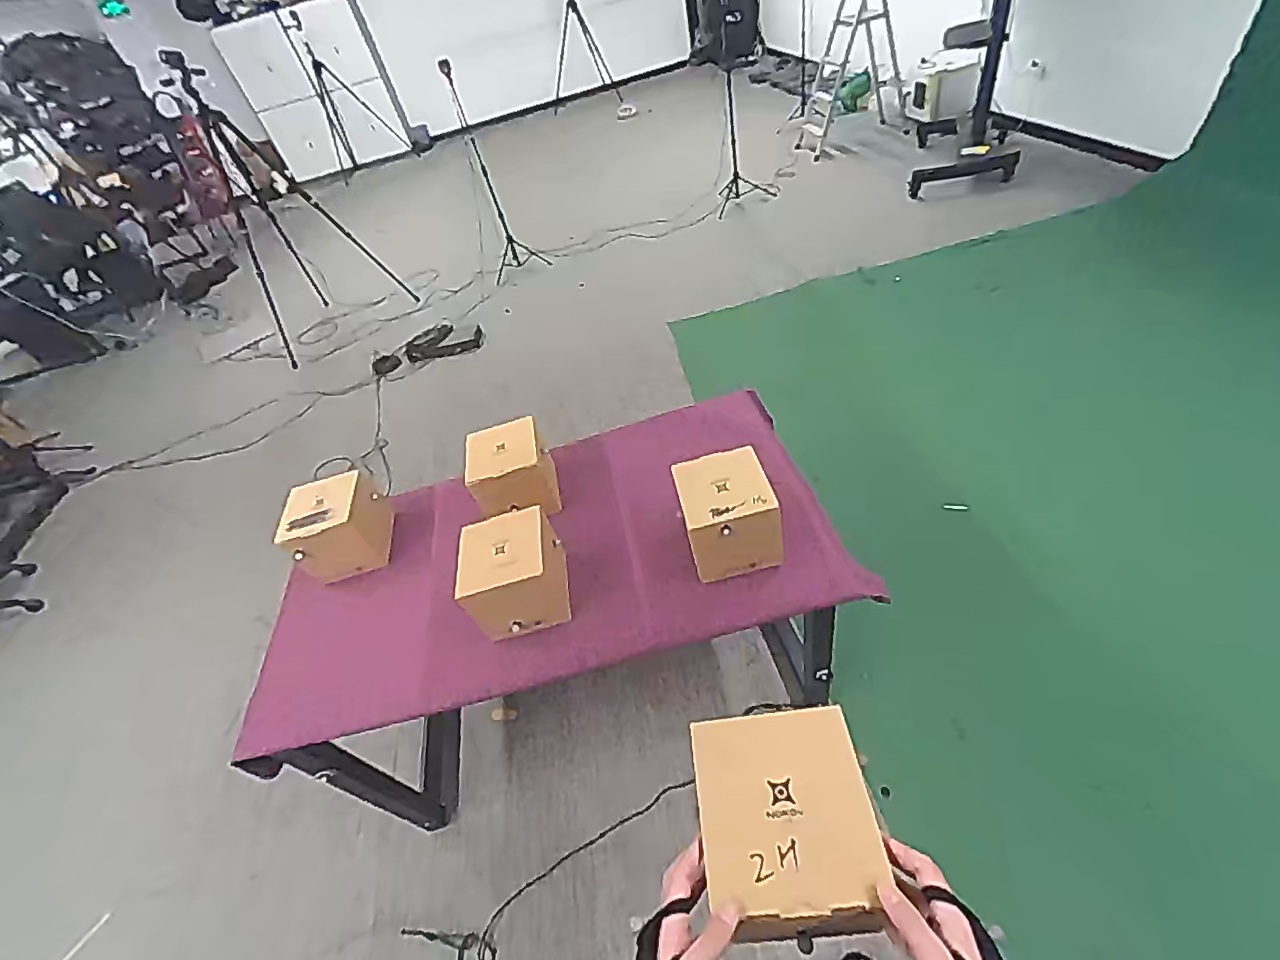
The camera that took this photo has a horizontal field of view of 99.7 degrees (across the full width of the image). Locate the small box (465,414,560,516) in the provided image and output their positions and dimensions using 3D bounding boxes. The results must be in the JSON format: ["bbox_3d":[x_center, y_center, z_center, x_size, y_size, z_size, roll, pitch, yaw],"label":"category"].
[{"bbox_3d":[-0.296,-0.022,1.269,0.168,0.176,0.179,-17,46,-1],"label":"small box"}]

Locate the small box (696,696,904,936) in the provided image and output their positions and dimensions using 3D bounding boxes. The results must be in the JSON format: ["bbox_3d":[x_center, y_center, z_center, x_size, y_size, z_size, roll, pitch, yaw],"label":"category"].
[{"bbox_3d":[0.156,0.359,0.577,0.168,0.176,0.179,-10,43,7],"label":"small box"}]

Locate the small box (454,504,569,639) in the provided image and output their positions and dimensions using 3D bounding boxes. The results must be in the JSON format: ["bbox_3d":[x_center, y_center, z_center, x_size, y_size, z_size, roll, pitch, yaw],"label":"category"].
[{"bbox_3d":[-0.243,0.179,1.055,0.168,0.176,0.179,-16,44,2],"label":"small box"}]

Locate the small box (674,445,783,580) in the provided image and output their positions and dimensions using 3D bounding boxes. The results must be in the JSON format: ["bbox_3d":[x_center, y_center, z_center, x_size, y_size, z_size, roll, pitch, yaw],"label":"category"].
[{"bbox_3d":[0.170,0.064,1.046,0.168,0.176,0.179,-15,42,4],"label":"small box"}]
